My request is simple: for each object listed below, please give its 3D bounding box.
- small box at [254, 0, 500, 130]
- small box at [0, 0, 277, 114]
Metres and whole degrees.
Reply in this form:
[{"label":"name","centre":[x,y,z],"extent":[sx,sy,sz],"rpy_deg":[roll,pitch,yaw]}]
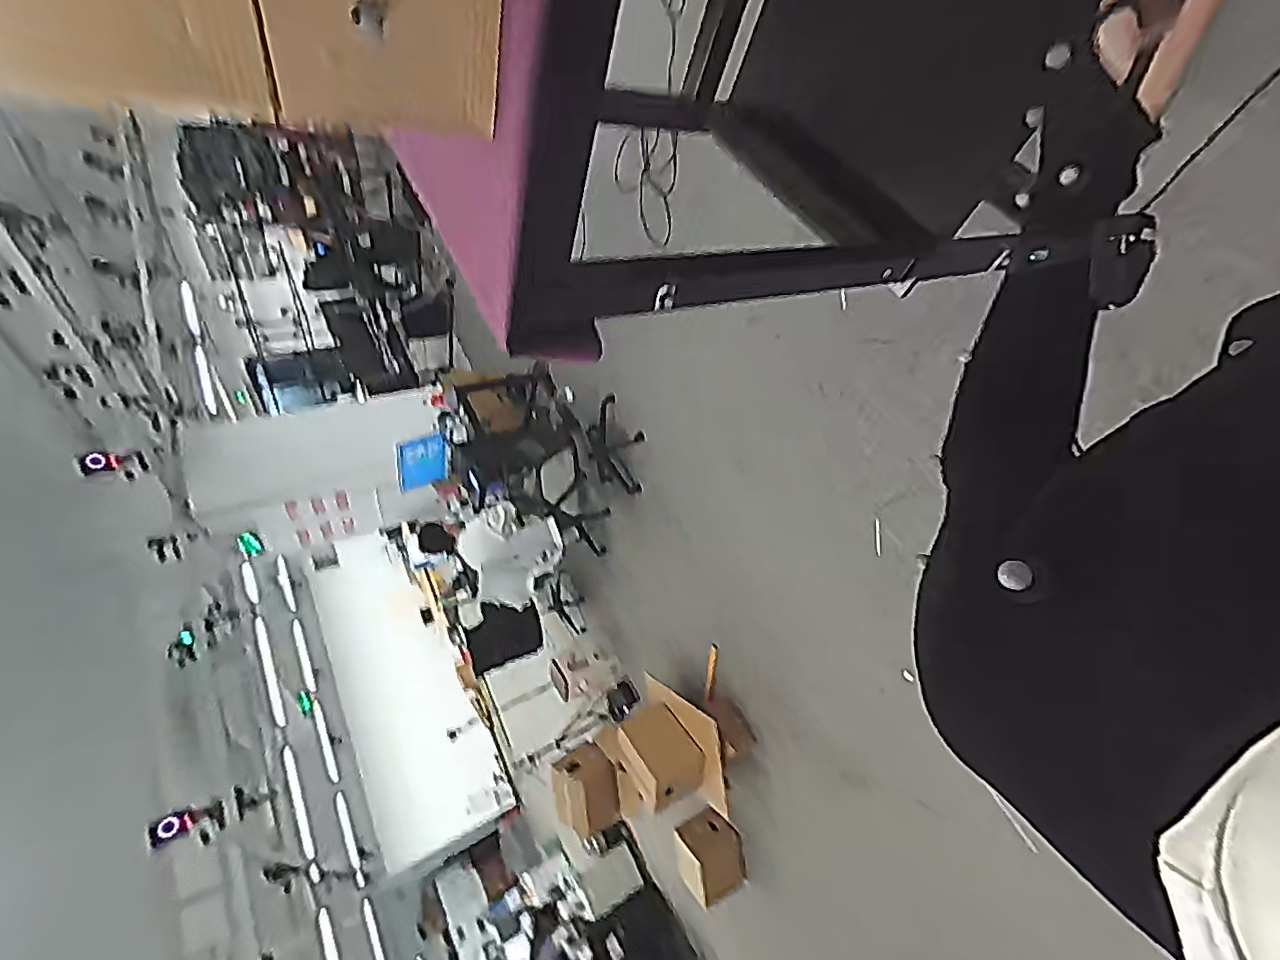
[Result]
[{"label":"small box","centre":[-0.214,-0.403,0.422],"extent":[0.168,0.176,0.179],"rpy_deg":[58,147,27]},{"label":"small box","centre":[-0.353,-0.367,0.346],"extent":[0.168,0.176,0.179],"rpy_deg":[58,146,28]}]
